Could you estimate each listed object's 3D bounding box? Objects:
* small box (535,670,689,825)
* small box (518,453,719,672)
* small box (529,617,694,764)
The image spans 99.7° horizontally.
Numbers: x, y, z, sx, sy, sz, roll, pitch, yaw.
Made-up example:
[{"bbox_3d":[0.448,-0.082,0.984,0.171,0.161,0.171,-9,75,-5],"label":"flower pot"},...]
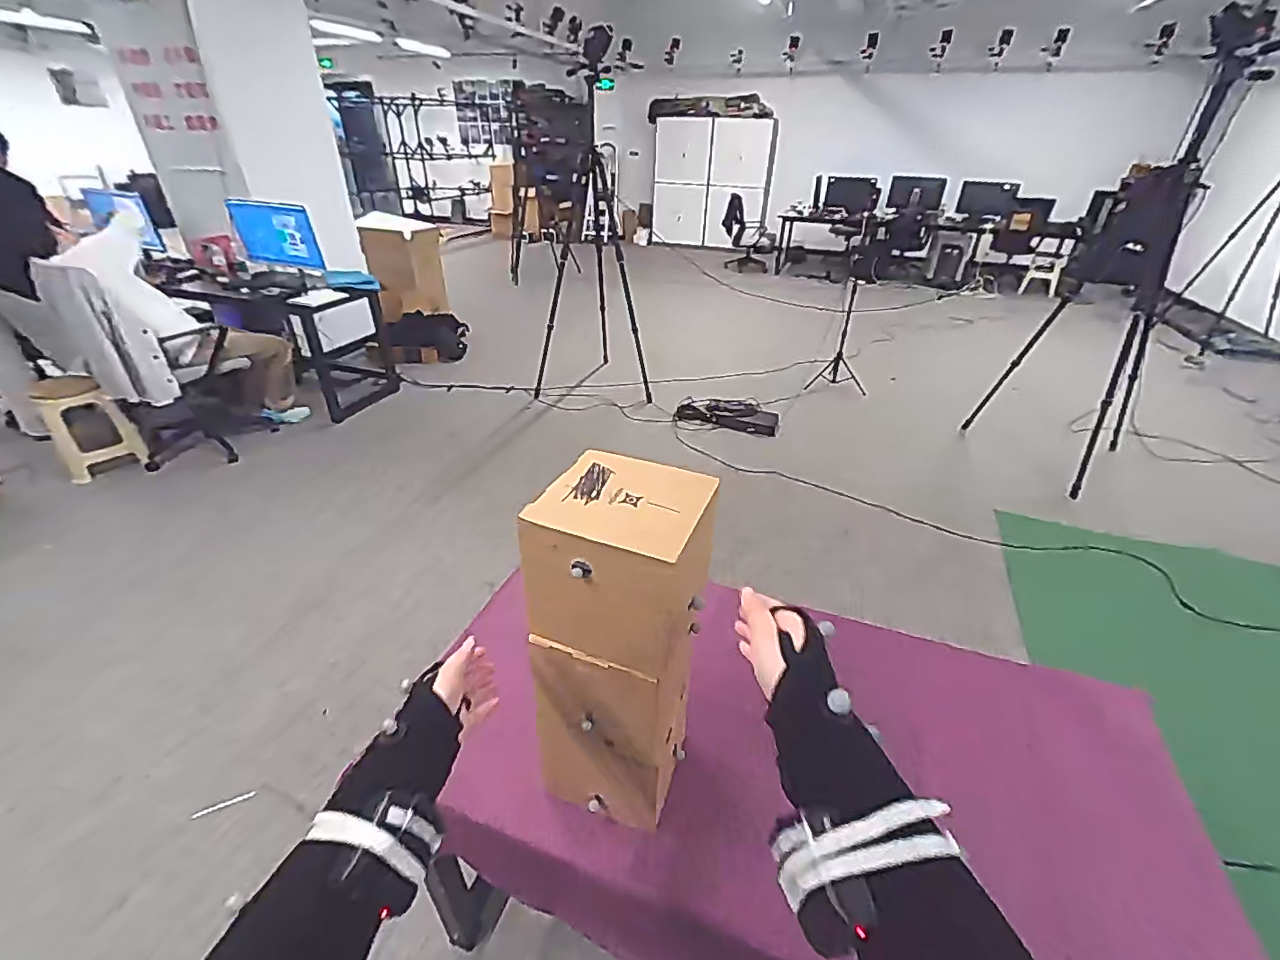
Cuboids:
[{"bbox_3d":[-0.037,0.373,0.804,0.179,0.176,0.168,12,33,15],"label":"small box"},{"bbox_3d":[-0.021,0.092,0.632,0.179,0.176,0.168,14,34,17],"label":"small box"},{"bbox_3d":[-0.030,0.231,0.720,0.168,0.176,0.179,12,34,17],"label":"small box"}]
